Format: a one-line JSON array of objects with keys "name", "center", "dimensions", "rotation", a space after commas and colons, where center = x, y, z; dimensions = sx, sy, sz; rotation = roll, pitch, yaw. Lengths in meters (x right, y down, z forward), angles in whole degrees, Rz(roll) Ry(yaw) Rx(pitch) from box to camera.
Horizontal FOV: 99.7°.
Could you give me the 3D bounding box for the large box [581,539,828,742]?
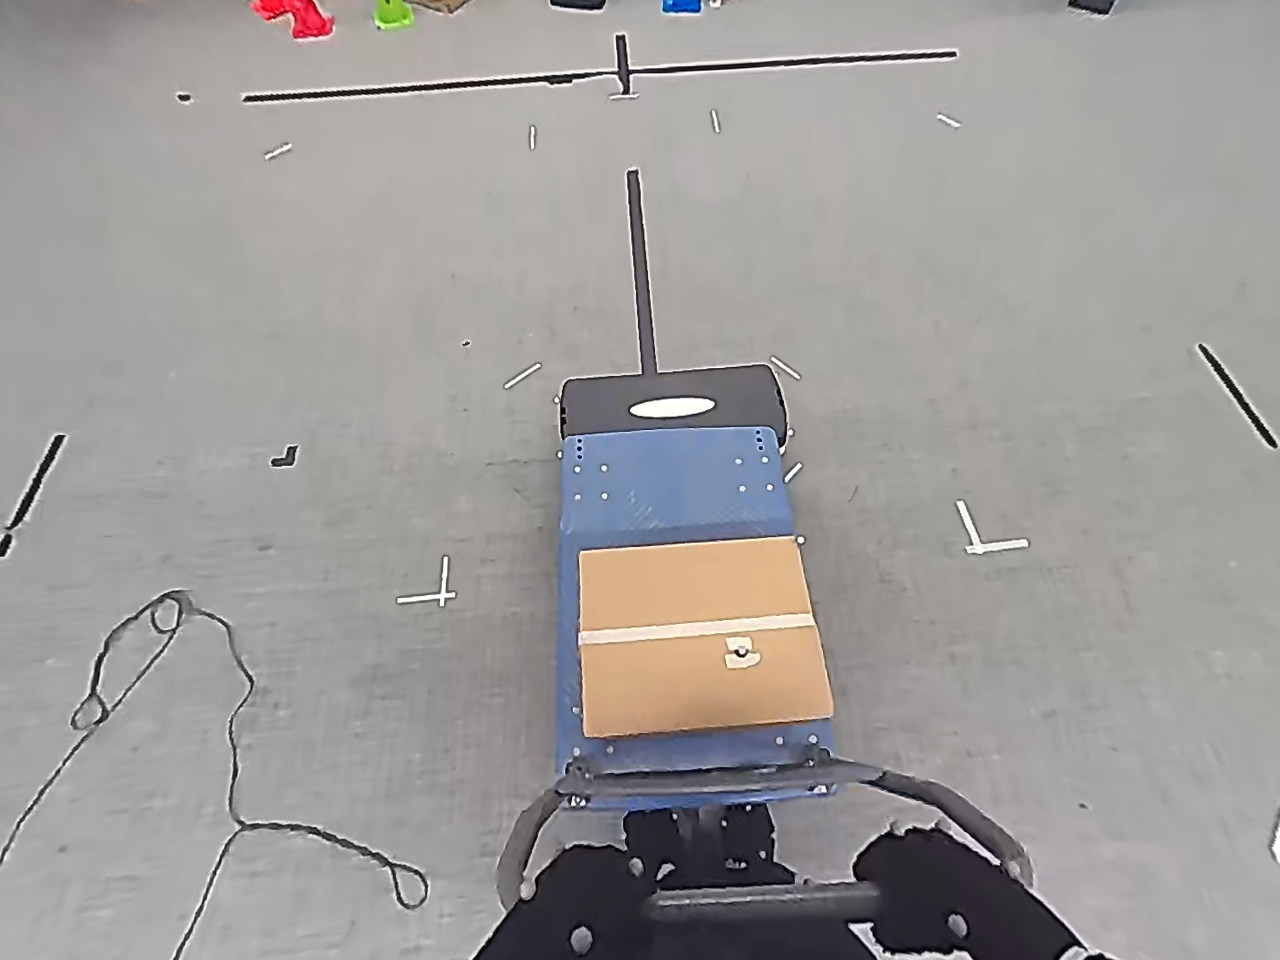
[{"name": "large box", "center": [0.100, 0.332, 1.081], "dimensions": [0.408, 0.320, 0.320], "rotation": [-4, 64, -2]}]
